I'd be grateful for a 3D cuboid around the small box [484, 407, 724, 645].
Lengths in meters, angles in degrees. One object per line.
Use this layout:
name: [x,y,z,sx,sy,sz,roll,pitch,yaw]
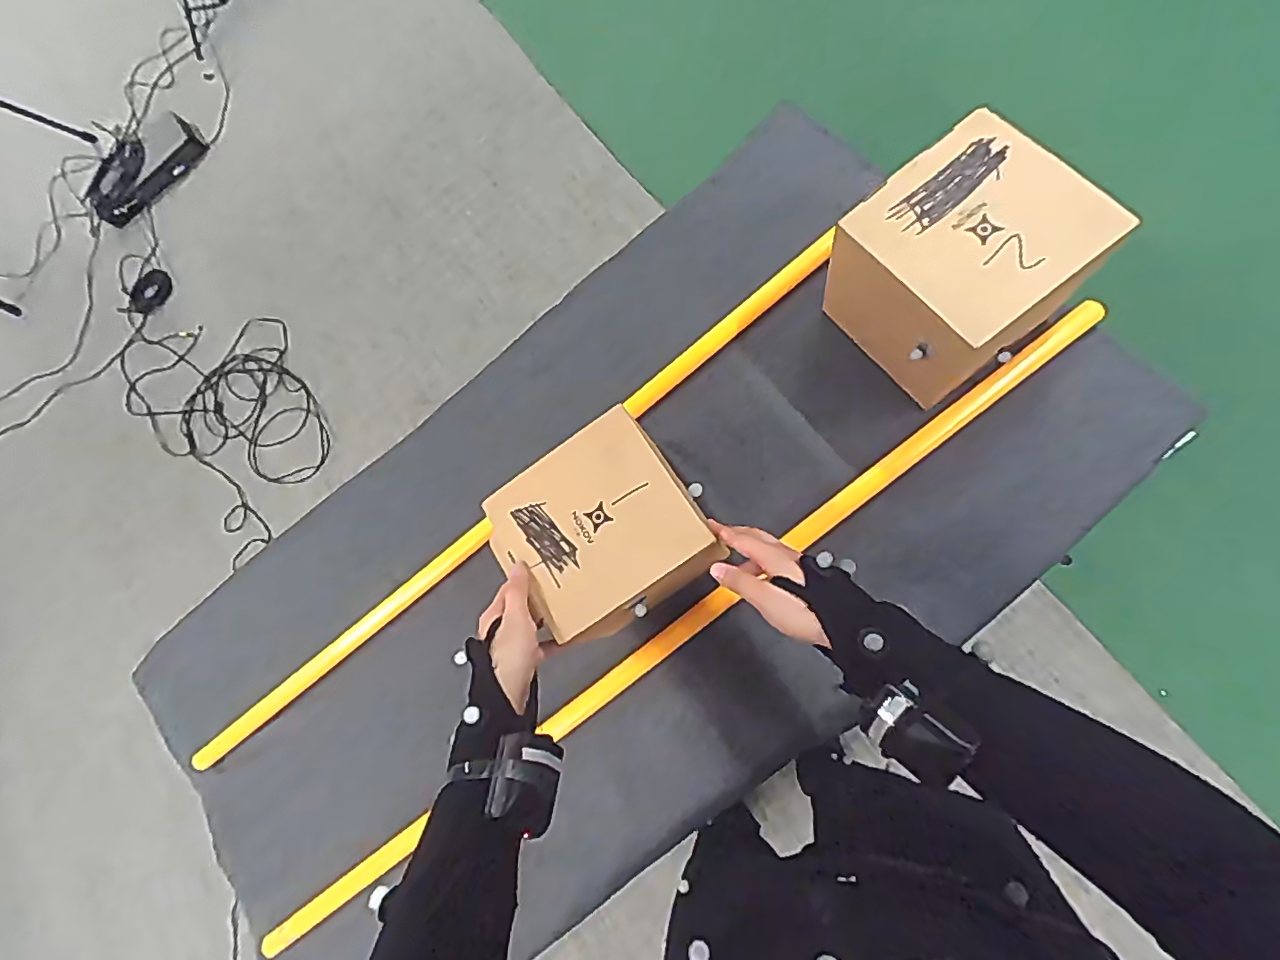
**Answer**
small box: [-0.026,0.056,0.584,0.179,0.176,0.168,-35,73,5]
